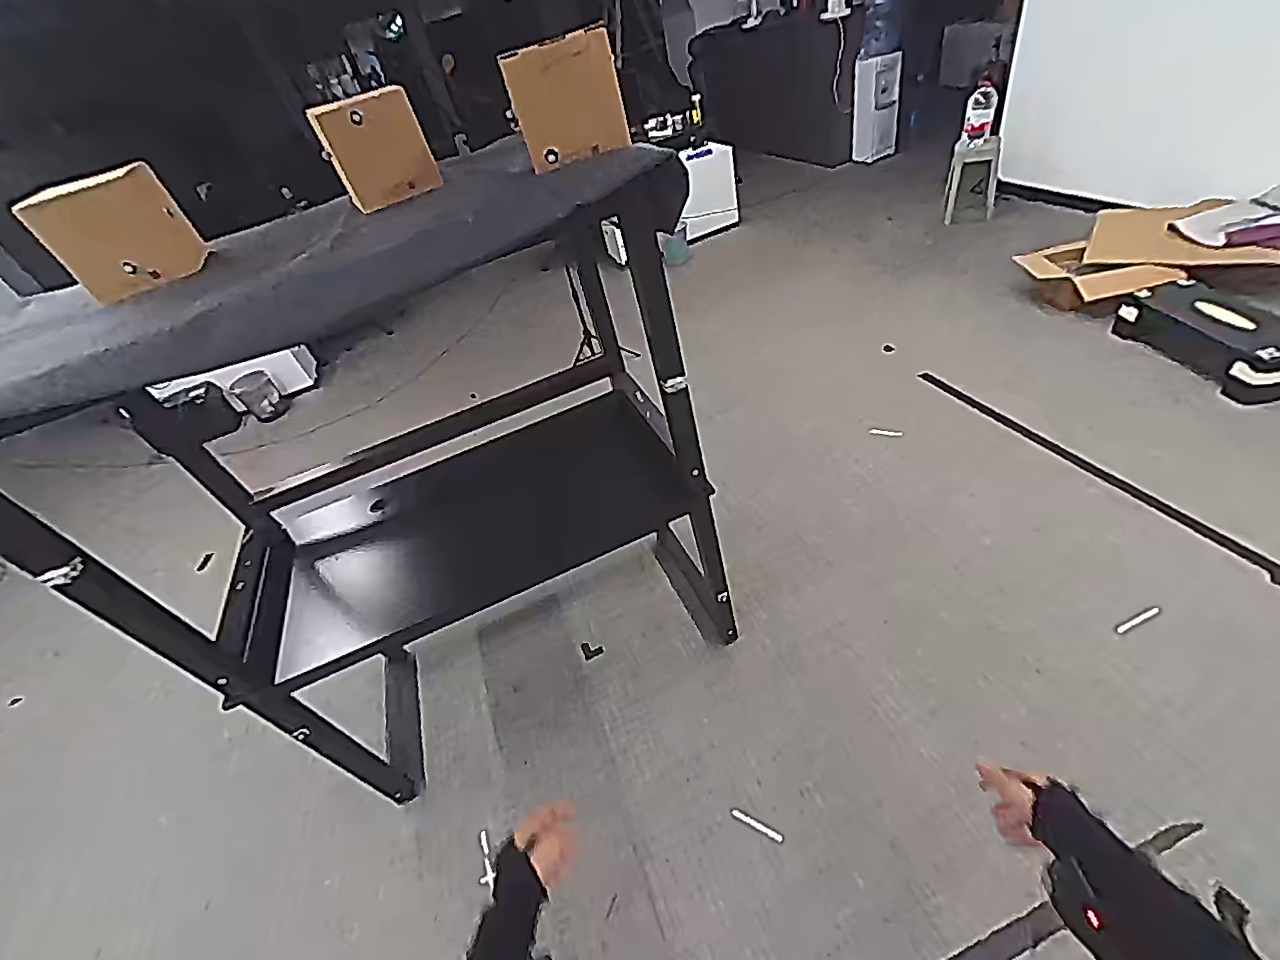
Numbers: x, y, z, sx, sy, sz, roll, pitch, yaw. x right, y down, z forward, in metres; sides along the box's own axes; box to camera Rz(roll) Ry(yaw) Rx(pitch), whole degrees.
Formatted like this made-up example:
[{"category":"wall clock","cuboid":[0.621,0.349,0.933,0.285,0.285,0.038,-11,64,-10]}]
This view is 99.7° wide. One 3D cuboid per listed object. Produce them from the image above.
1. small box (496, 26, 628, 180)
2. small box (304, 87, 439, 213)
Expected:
[{"category":"small box","cuboid":[-0.127,-0.616,0.893,0.168,0.176,0.179,-18,39,-1]},{"category":"small box","cuboid":[-0.520,-0.640,1.054,0.168,0.176,0.179,-31,43,-15]}]
